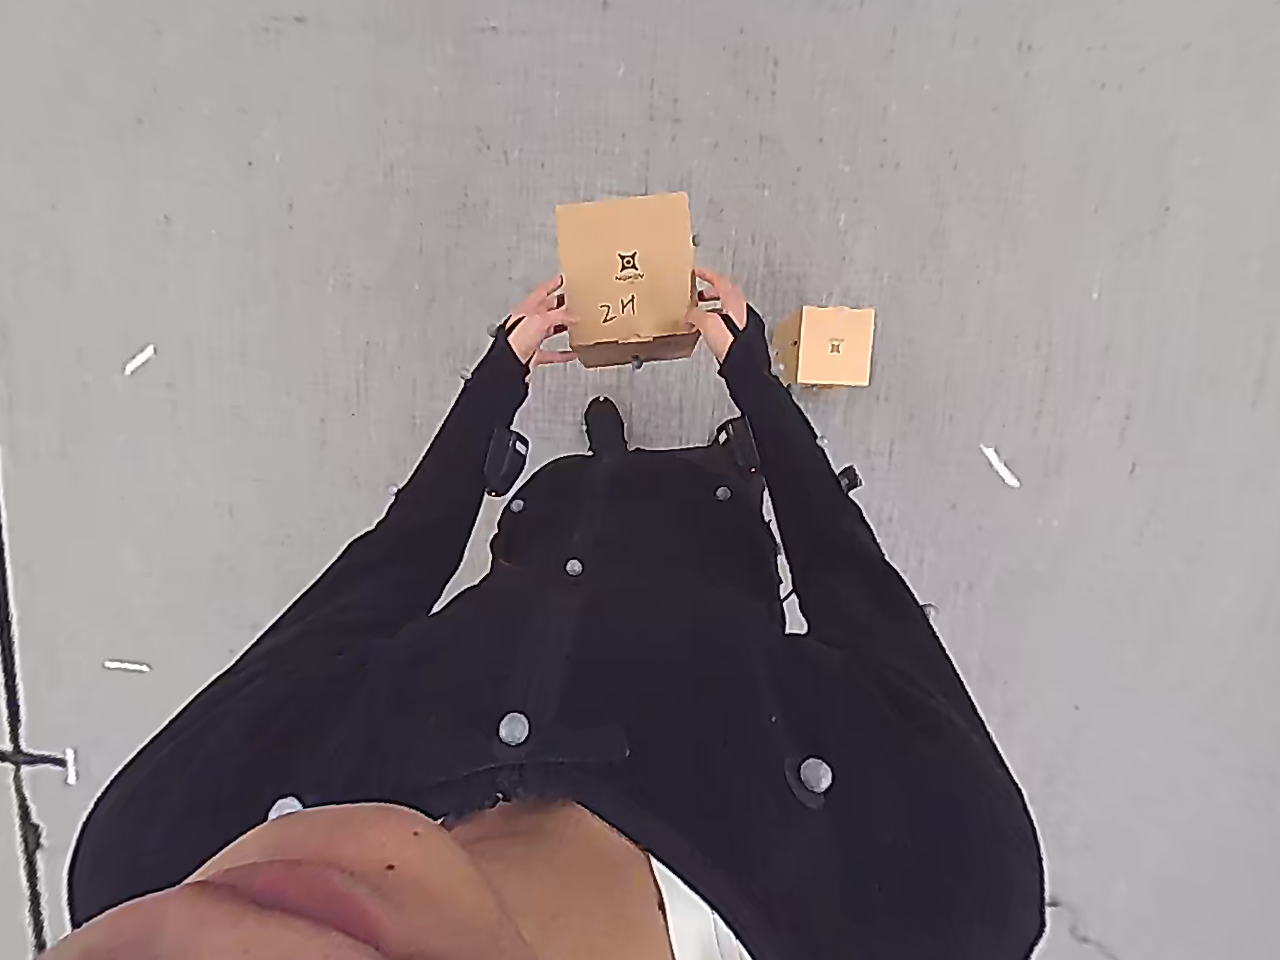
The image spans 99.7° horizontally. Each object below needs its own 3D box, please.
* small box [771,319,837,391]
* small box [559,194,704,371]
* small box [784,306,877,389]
[{"bbox_3d":[0.455,-0.334,1.468,0.168,0.176,0.179,2,97,2],"label":"small box"},{"bbox_3d":[-0.010,-0.255,0.733,0.168,0.176,0.179,-6,93,1],"label":"small box"},{"bbox_3d":[0.451,-0.313,1.306,0.168,0.176,0.179,2,97,2],"label":"small box"}]
